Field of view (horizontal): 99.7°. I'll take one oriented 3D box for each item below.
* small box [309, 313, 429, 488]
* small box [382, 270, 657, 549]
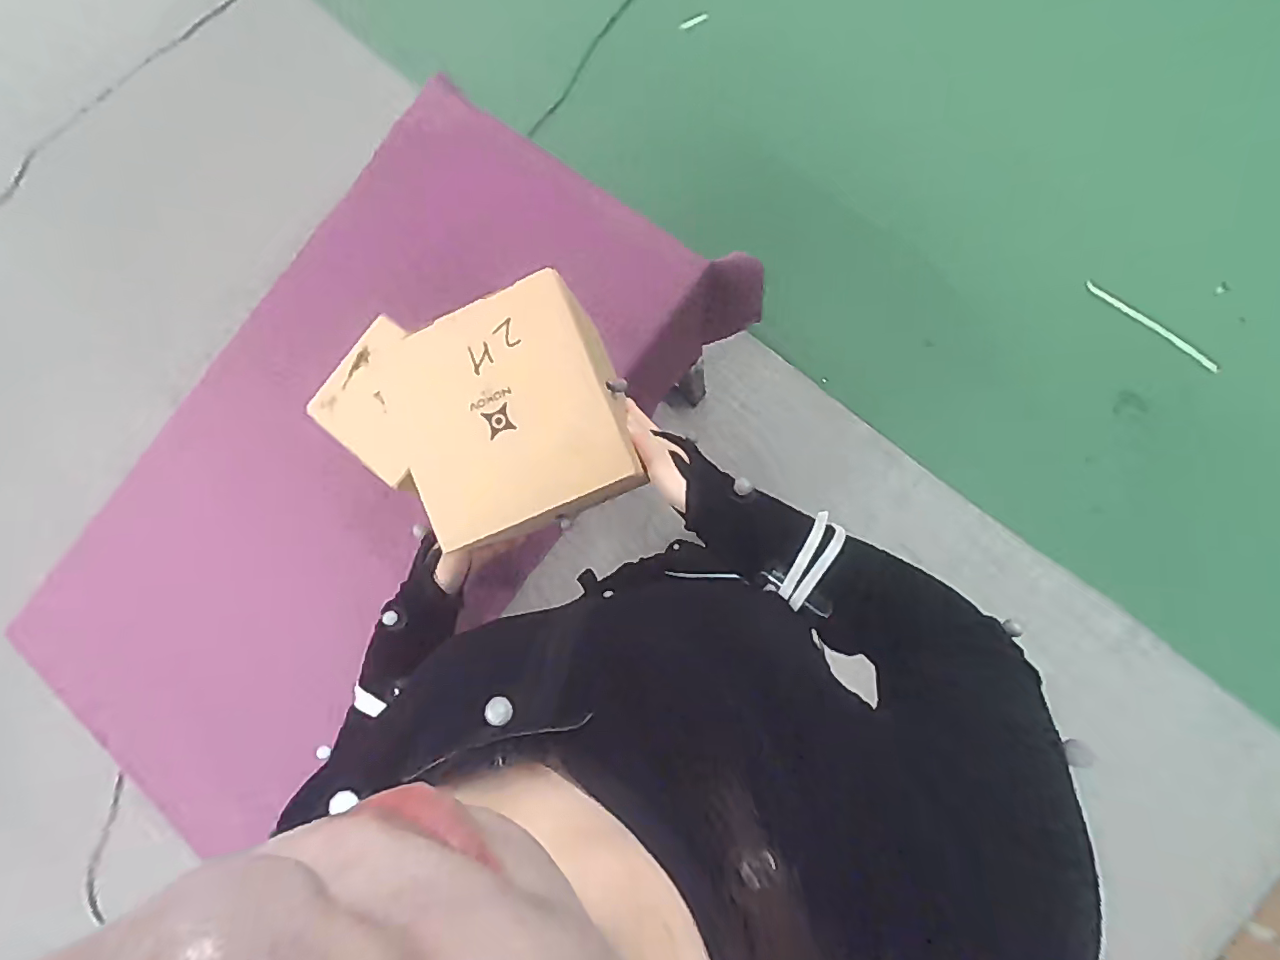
[{"bbox_3d":[-0.313,-0.101,0.780,0.179,0.176,0.168,39,90,9],"label":"small box"},{"bbox_3d":[-0.092,-0.054,0.499,0.168,0.176,0.179,-22,87,6],"label":"small box"}]
